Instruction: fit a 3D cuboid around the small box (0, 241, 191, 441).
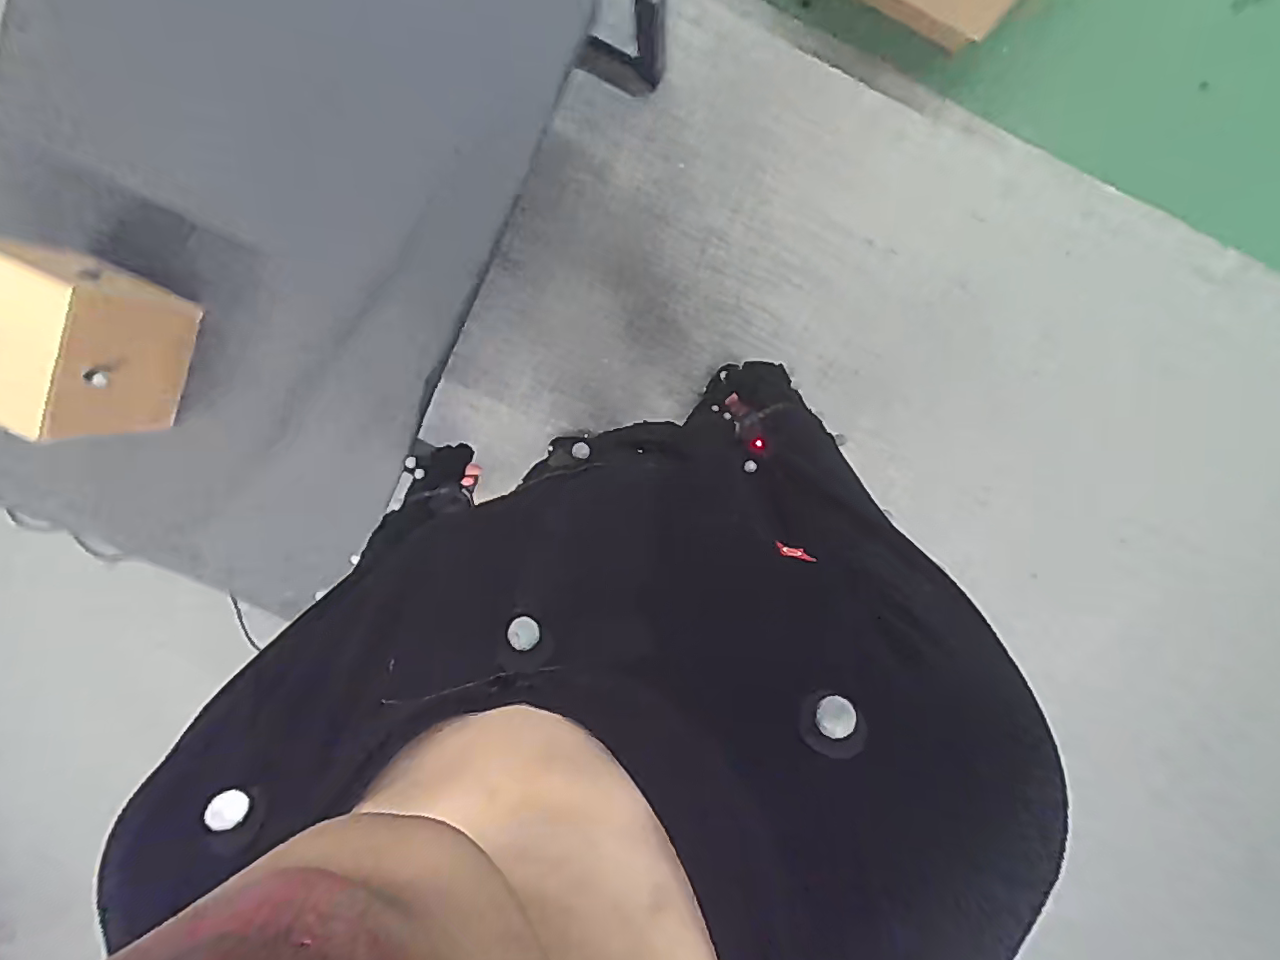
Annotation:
[{"bbox_3d":[-0.684,-0.168,0.635,0.168,0.176,0.179,24,102,-4],"label":"small box"}]
